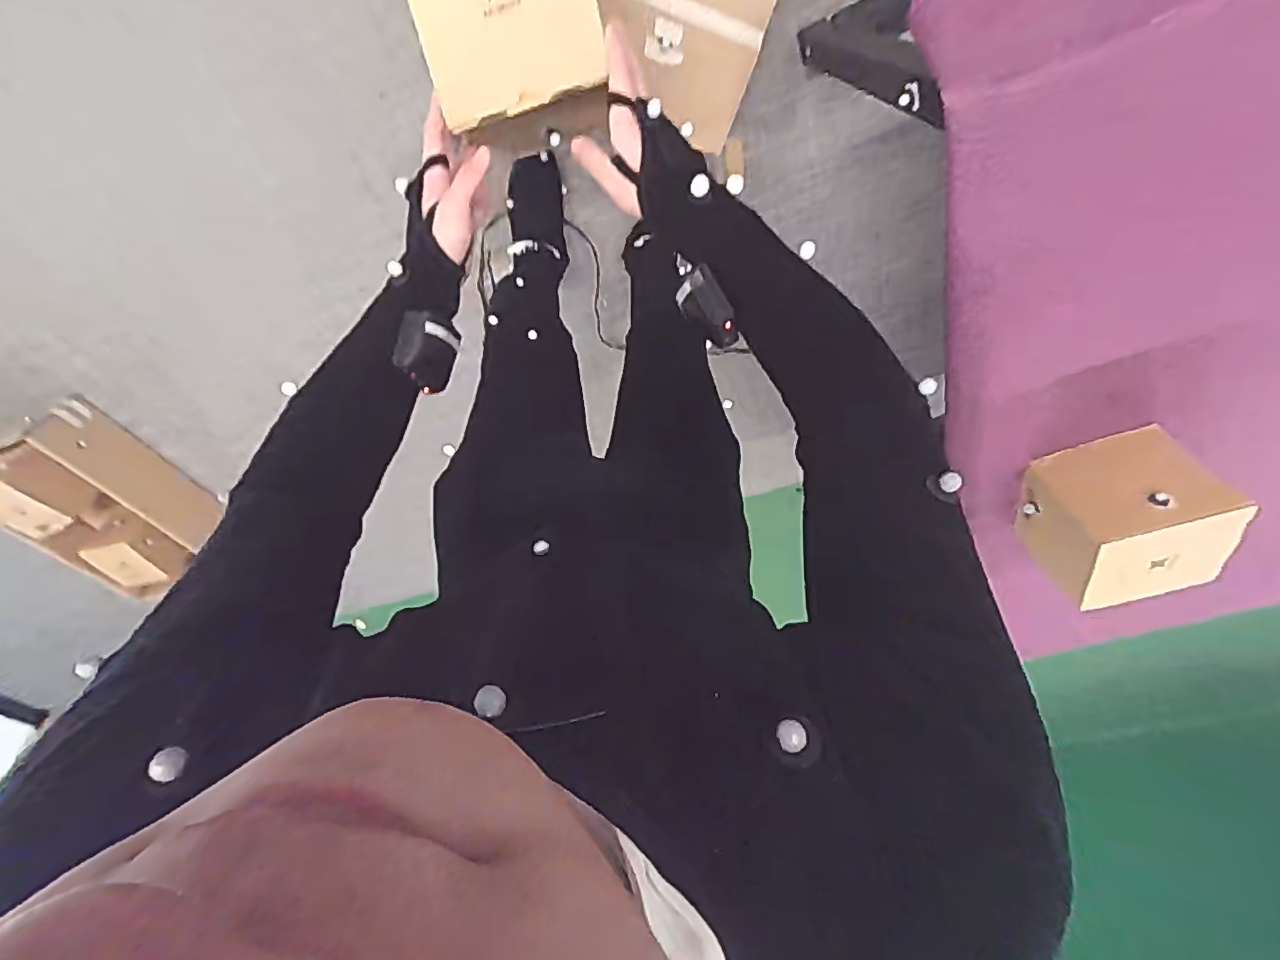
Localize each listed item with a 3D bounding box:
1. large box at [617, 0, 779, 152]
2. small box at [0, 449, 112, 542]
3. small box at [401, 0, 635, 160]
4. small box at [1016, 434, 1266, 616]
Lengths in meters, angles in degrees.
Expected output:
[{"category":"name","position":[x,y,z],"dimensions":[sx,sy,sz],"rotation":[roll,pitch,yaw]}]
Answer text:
[{"category":"large box","position":[-0.020,-0.774,0.838],"dimensions":[0.408,0.320,0.320],"rotation":[11,133,-15]},{"category":"small box","position":[-1.657,0.036,1.504],"dimensions":[0.168,0.176,0.179],"rotation":[-21,131,14]},{"category":"small box","position":[-0.110,-0.437,0.523],"dimensions":[0.168,0.176,0.179],"rotation":[-9,112,13]},{"category":"small box","position":[0.677,0.060,0.760],"dimensions":[0.179,0.176,0.168],"rotation":[-17,131,11]}]
